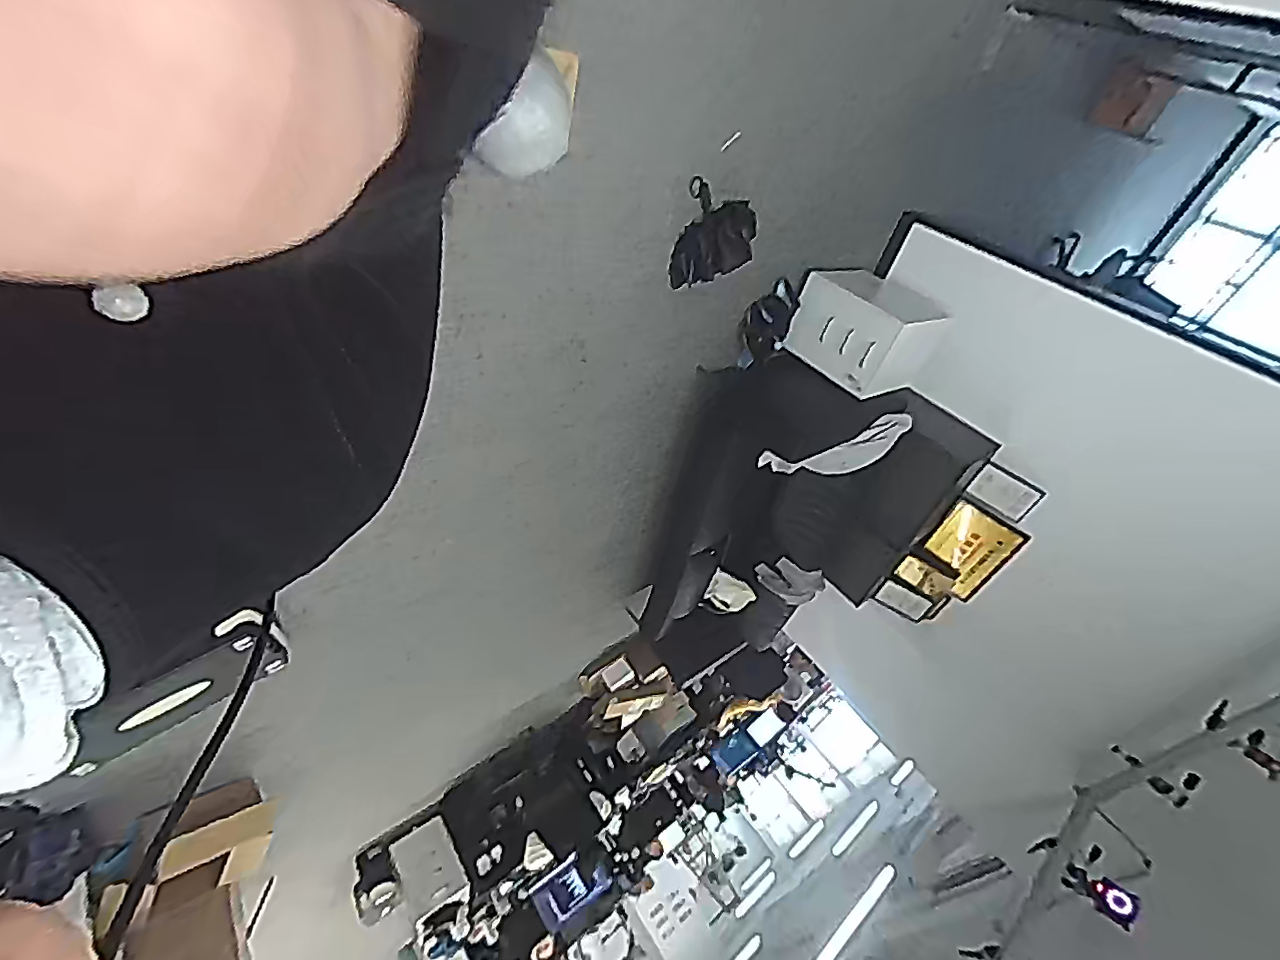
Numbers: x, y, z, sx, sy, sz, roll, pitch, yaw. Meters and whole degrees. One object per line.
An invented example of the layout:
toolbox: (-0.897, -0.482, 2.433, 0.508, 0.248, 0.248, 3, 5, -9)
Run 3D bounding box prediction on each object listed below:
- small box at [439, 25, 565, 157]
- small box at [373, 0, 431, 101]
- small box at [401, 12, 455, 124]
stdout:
small box: (-0.271, -0.745, 1.039, 0.179, 0.176, 0.168, -19, 140, -38)
small box: (-0.473, -0.938, 1.211, 0.179, 0.176, 0.168, -11, 135, -43)
small box: (-0.371, -0.836, 1.129, 0.179, 0.176, 0.168, -11, 135, -44)
